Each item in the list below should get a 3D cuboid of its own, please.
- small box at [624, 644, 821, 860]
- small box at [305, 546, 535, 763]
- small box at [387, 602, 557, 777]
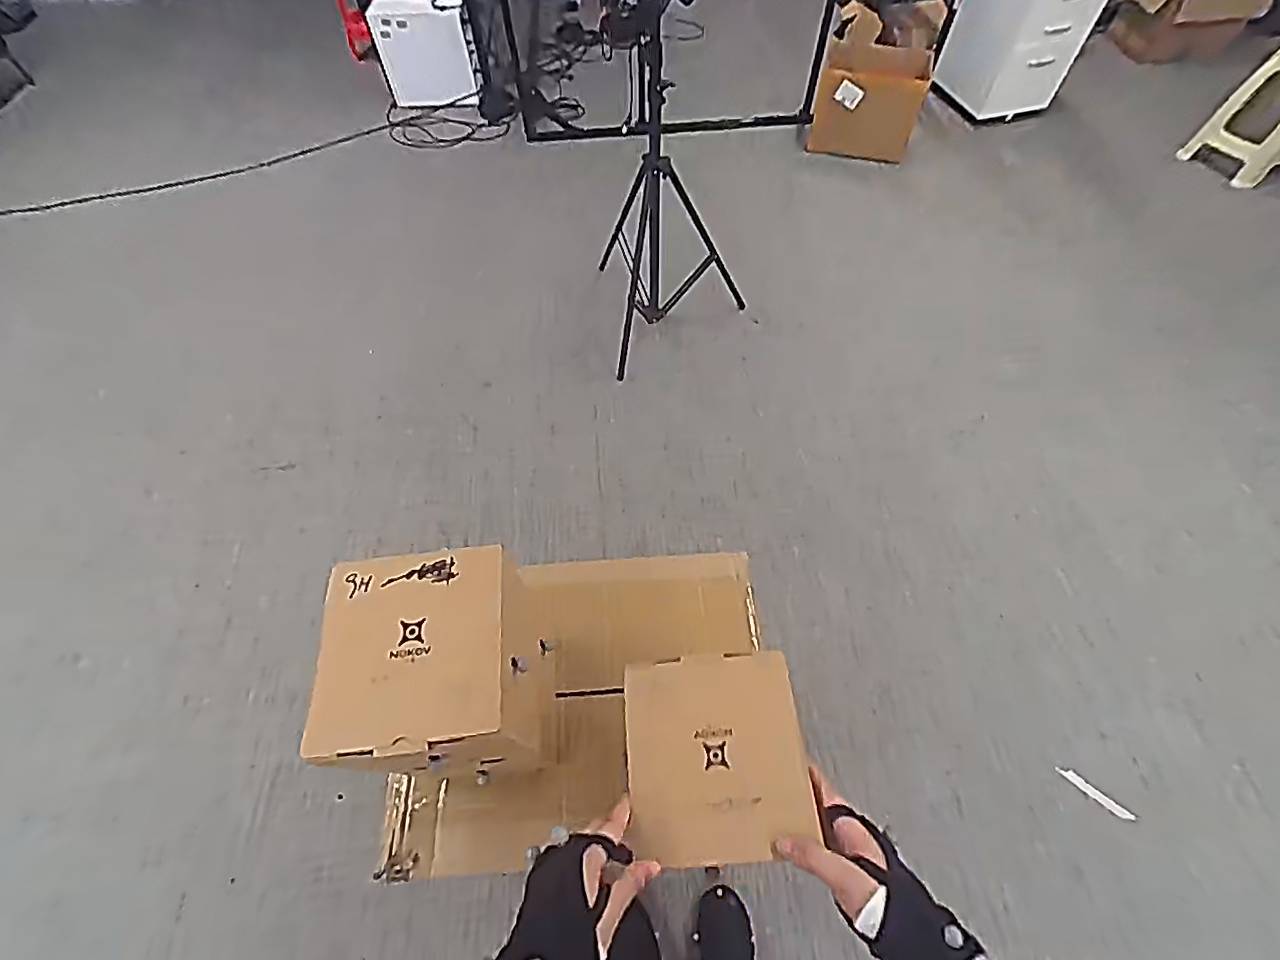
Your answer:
[{"bbox_3d":[0.075,0.292,0.577,0.168,0.176,0.179,-7,57,2],"label":"small box"},{"bbox_3d":[-0.205,0.187,0.558,0.168,0.176,0.179,-6,60,-3],"label":"small box"},{"bbox_3d":[-0.201,0.274,0.698,0.168,0.176,0.179,-5,59,-2],"label":"small box"}]
